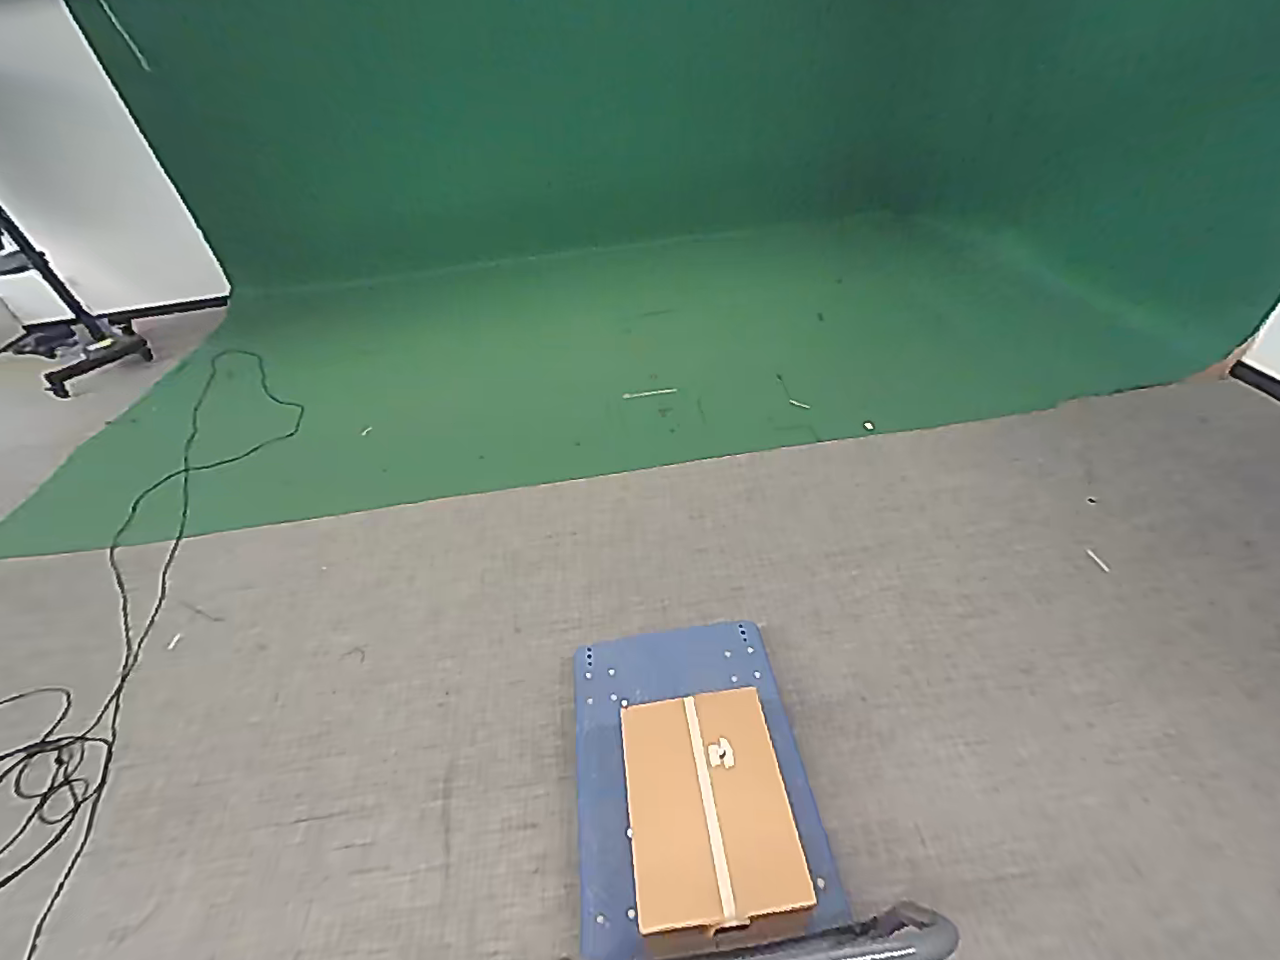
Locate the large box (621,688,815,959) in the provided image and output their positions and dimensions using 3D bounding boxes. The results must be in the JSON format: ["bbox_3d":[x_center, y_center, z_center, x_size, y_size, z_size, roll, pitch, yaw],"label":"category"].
[{"bbox_3d":[0.147,0.736,1.174,0.320,0.320,0.408,-8,40,-2],"label":"large box"}]
